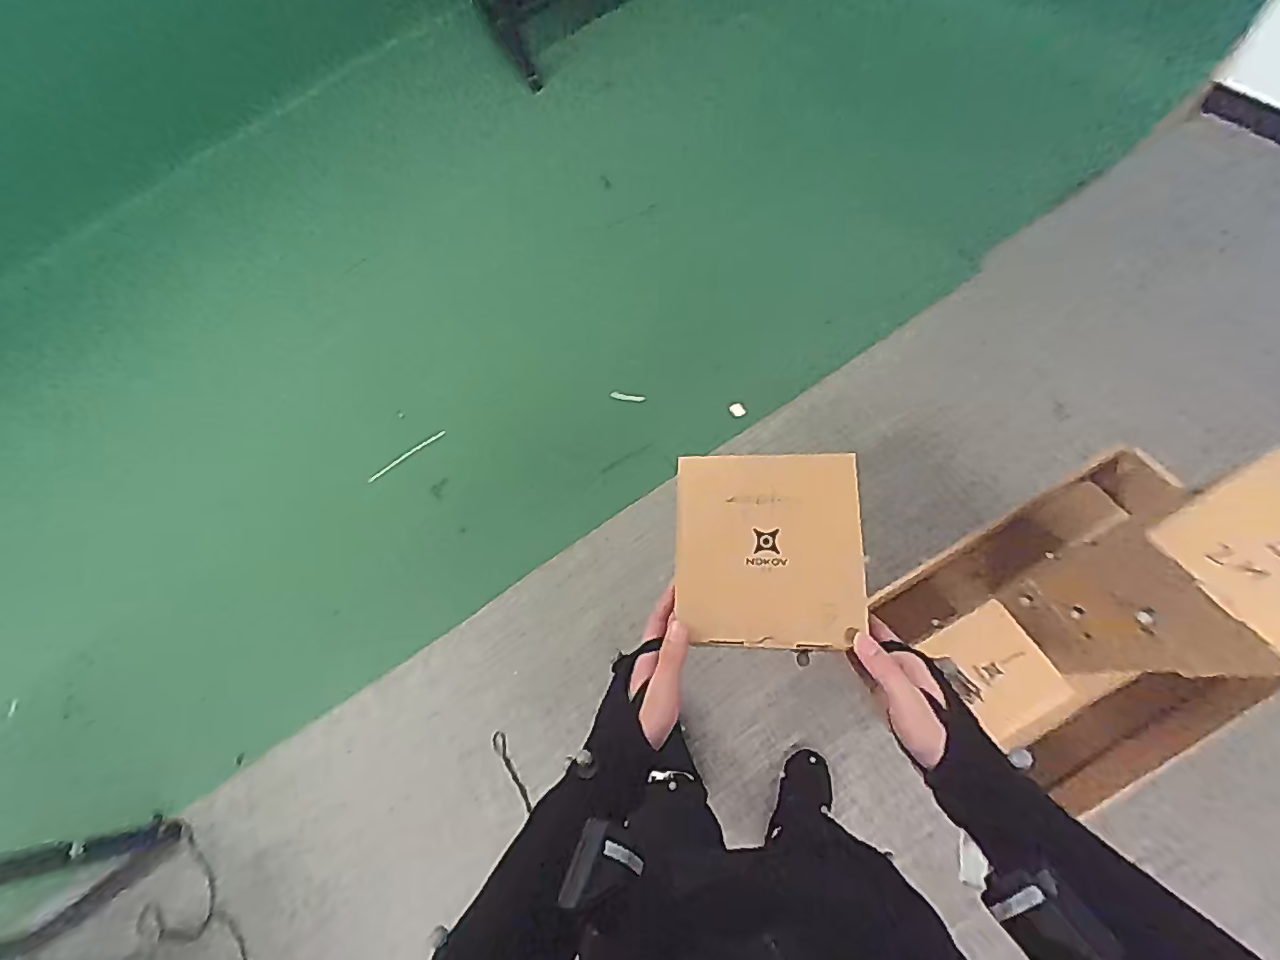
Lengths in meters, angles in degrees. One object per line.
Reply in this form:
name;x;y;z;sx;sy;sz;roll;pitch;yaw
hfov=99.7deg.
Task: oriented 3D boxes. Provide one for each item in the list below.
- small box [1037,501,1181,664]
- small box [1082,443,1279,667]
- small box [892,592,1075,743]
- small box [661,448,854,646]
small box;0.714;0.138;0.753;0.179;0.176;0.168;-32;66;2
small box;0.661;0.090;0.604;0.179;0.176;0.168;-34;65;2
small box;0.547;0.313;0.899;0.179;0.176;0.168;-30;66;-1
small box;0.116;0.078;0.561;0.168;0.176;0.179;-1;73;10
